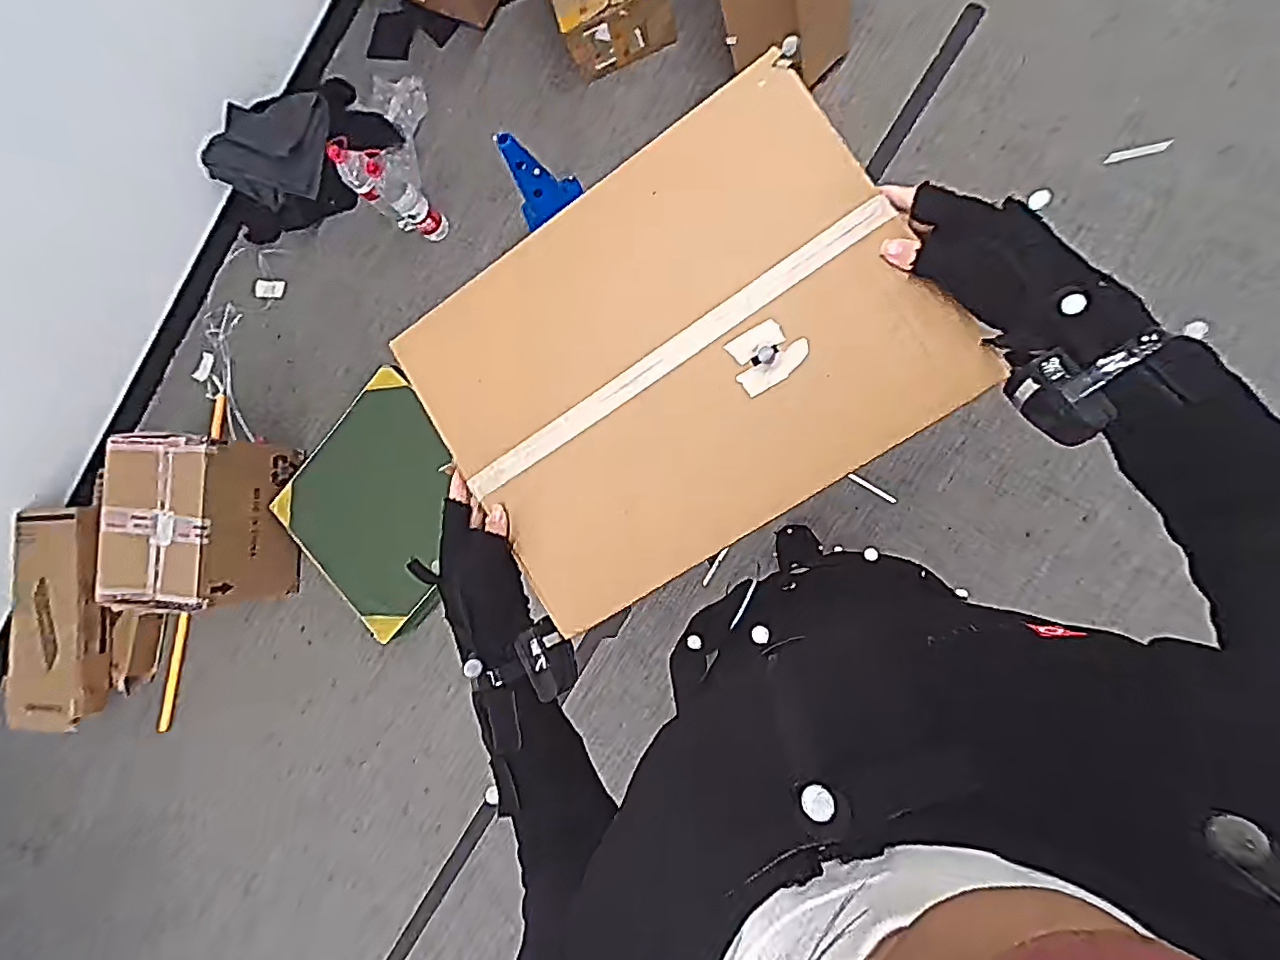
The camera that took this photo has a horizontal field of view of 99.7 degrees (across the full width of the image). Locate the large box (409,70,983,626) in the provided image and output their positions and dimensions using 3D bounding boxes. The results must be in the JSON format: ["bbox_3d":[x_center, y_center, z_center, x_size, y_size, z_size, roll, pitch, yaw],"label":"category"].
[{"bbox_3d":[0.050,-0.103,0.604,0.408,0.320,0.320,-34,85,9],"label":"large box"}]
